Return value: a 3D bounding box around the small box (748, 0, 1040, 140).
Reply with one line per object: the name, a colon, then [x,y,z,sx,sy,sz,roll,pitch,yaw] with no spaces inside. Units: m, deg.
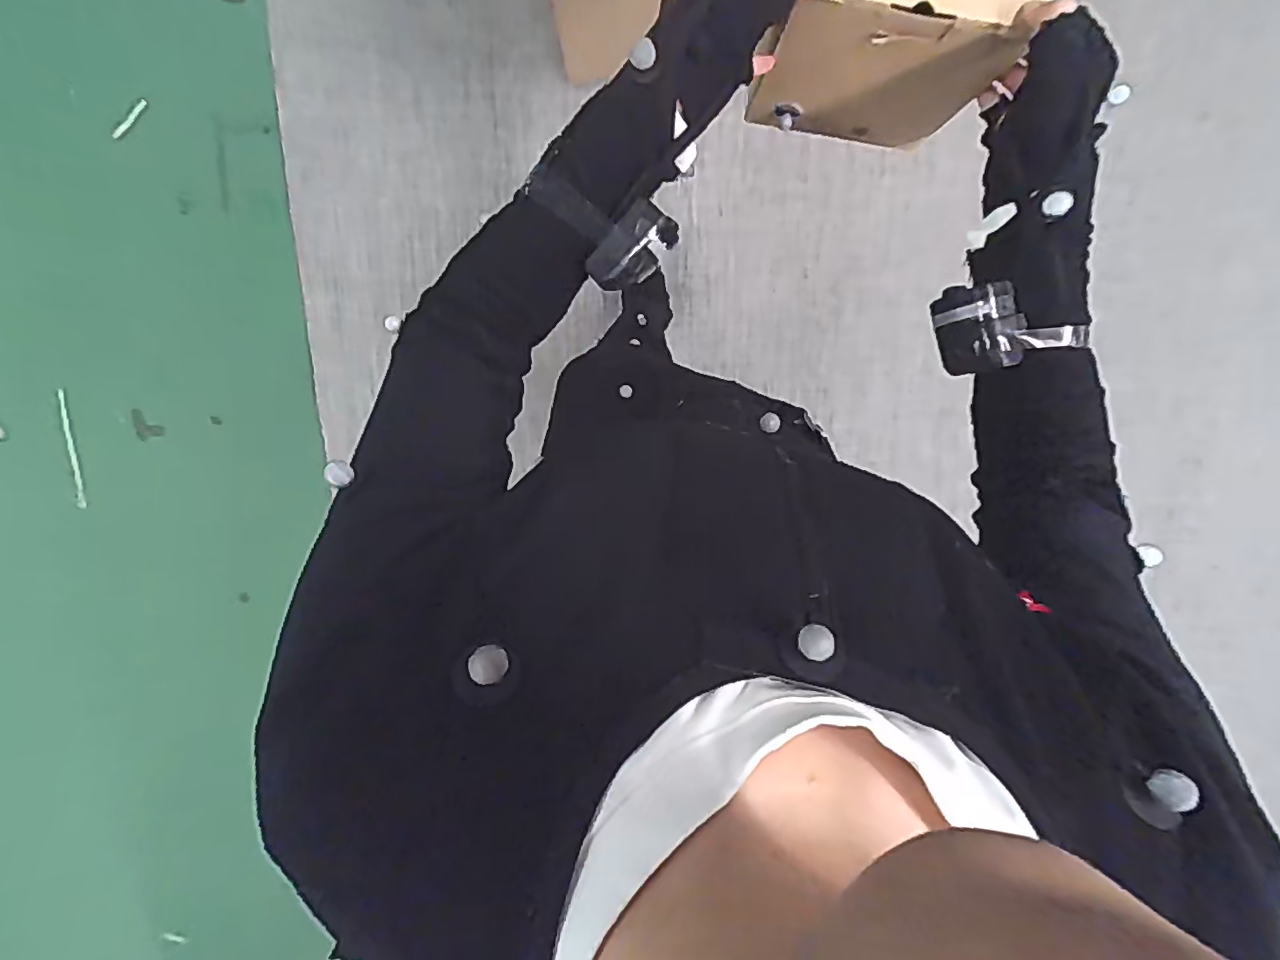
small box: [0.188,-0.398,0.416,0.168,0.176,0.179,8,97,-2]
